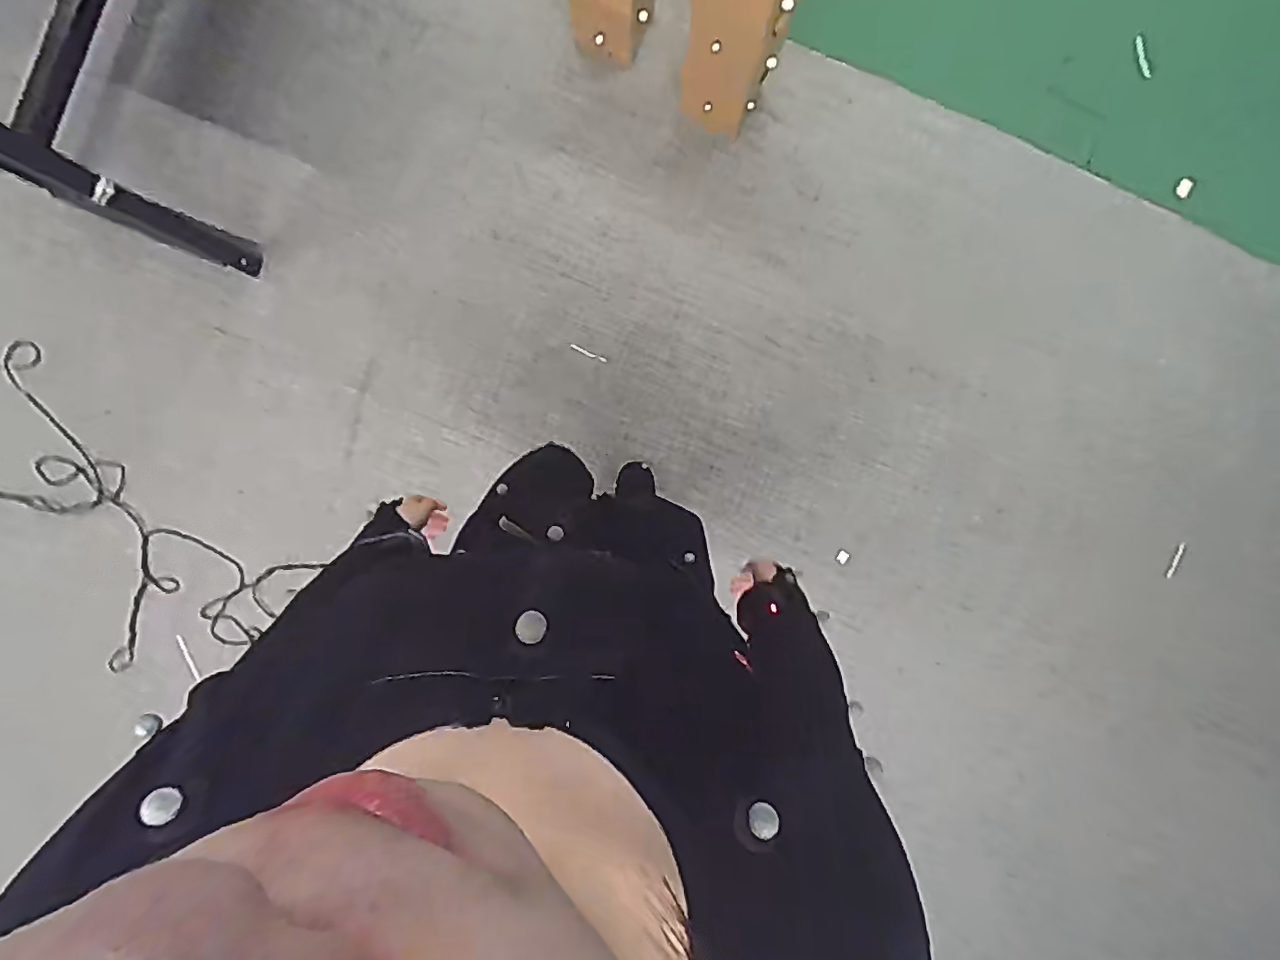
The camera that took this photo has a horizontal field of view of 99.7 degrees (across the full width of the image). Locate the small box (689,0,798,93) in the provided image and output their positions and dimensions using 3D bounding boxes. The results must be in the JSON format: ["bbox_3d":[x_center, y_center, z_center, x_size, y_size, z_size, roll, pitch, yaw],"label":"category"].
[{"bbox_3d":[0.225,-1.019,1.201,0.179,0.176,0.168,34,93,-2],"label":"small box"}]

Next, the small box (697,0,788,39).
[{"bbox_3d":[0.219,-1.013,1.037,0.179,0.176,0.168,32,92,-2],"label":"small box"}]

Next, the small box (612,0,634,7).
[{"bbox_3d":[-0.063,-1.214,1.192,0.168,0.176,0.179,22,91,-1],"label":"small box"}]
